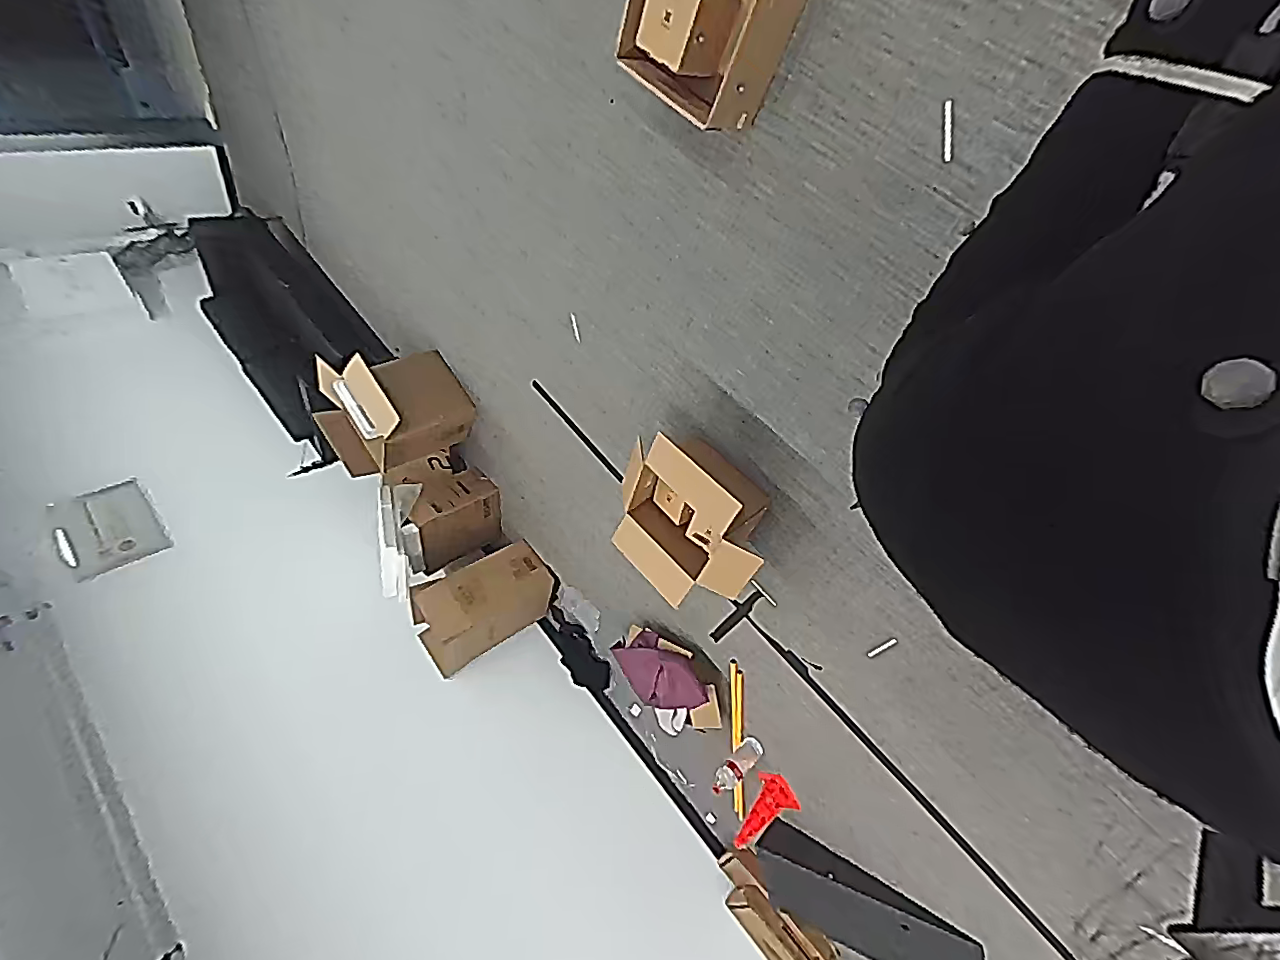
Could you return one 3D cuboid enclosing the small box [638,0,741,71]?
[{"bbox_3d":[0.129,-1.188,1.391,0.168,0.176,0.179,46,140,16],"label":"small box"}]
